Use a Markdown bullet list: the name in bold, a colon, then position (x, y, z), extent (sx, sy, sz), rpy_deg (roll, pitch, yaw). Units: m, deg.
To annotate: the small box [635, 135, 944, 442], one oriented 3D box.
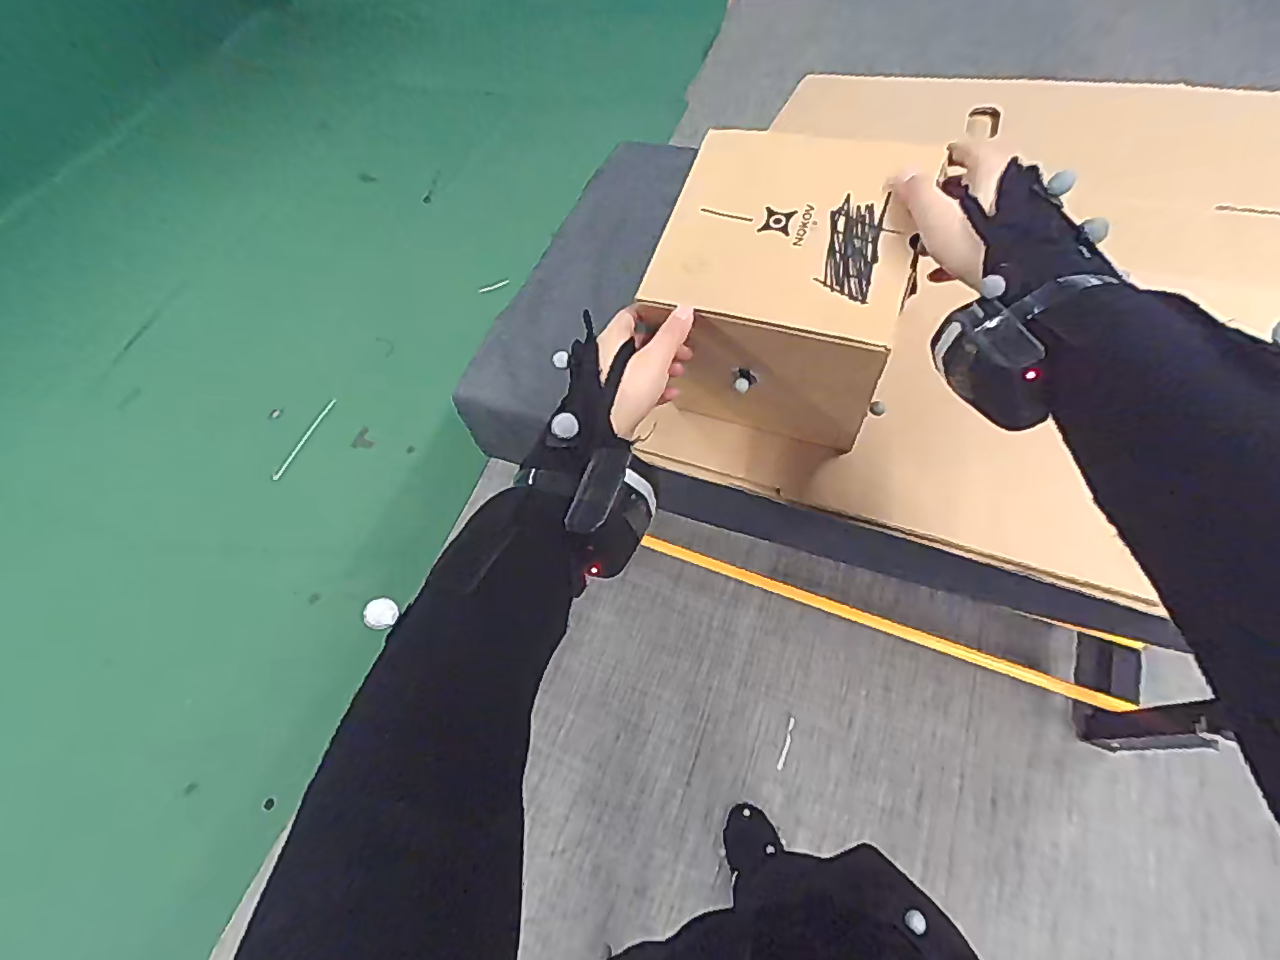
- **small box**: position (0.121, -0.148, 0.455), extent (0.179, 0.176, 0.168), rpy_deg (17, 75, 19)
